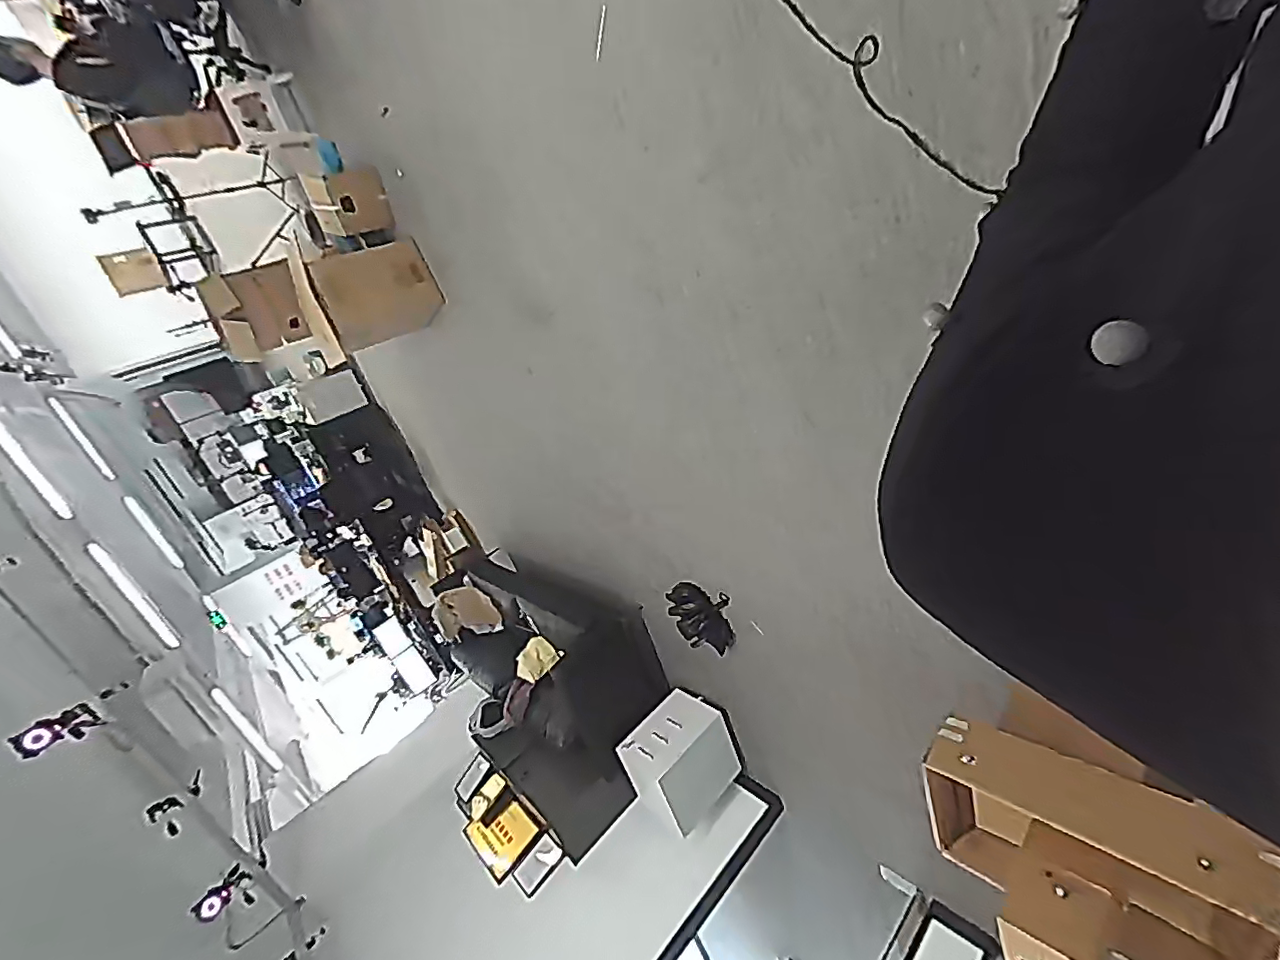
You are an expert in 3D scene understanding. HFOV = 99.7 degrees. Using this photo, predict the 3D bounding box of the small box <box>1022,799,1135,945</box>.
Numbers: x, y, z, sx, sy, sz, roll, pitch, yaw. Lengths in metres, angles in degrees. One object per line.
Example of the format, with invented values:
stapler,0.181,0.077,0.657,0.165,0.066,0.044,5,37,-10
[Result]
small box,1.013,0.891,1.246,0.168,0.176,0.179,2,120,52

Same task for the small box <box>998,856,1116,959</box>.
small box,0.899,0.973,1.162,0.168,0.176,0.179,4,122,50
